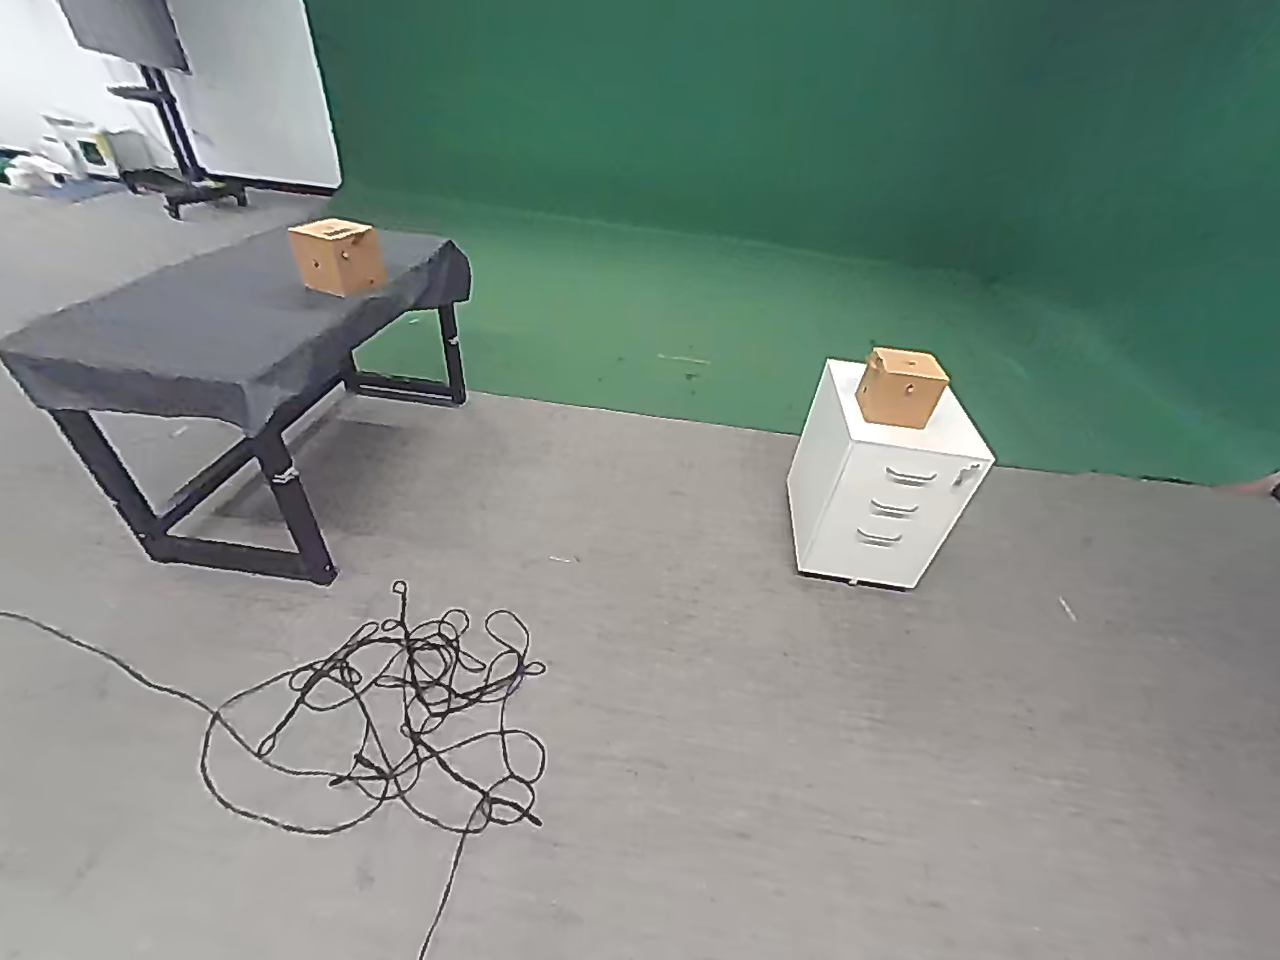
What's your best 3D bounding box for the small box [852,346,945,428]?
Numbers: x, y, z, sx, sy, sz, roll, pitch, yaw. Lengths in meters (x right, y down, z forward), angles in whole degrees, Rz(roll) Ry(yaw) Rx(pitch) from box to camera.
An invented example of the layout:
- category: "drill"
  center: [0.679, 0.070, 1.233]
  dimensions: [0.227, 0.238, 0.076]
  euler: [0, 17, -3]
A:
- category: "small box"
  center: [0.752, -0.271, 1.592]
  dimensions: [0.179, 0.176, 0.168]
  euler: [8, 39, 1]
